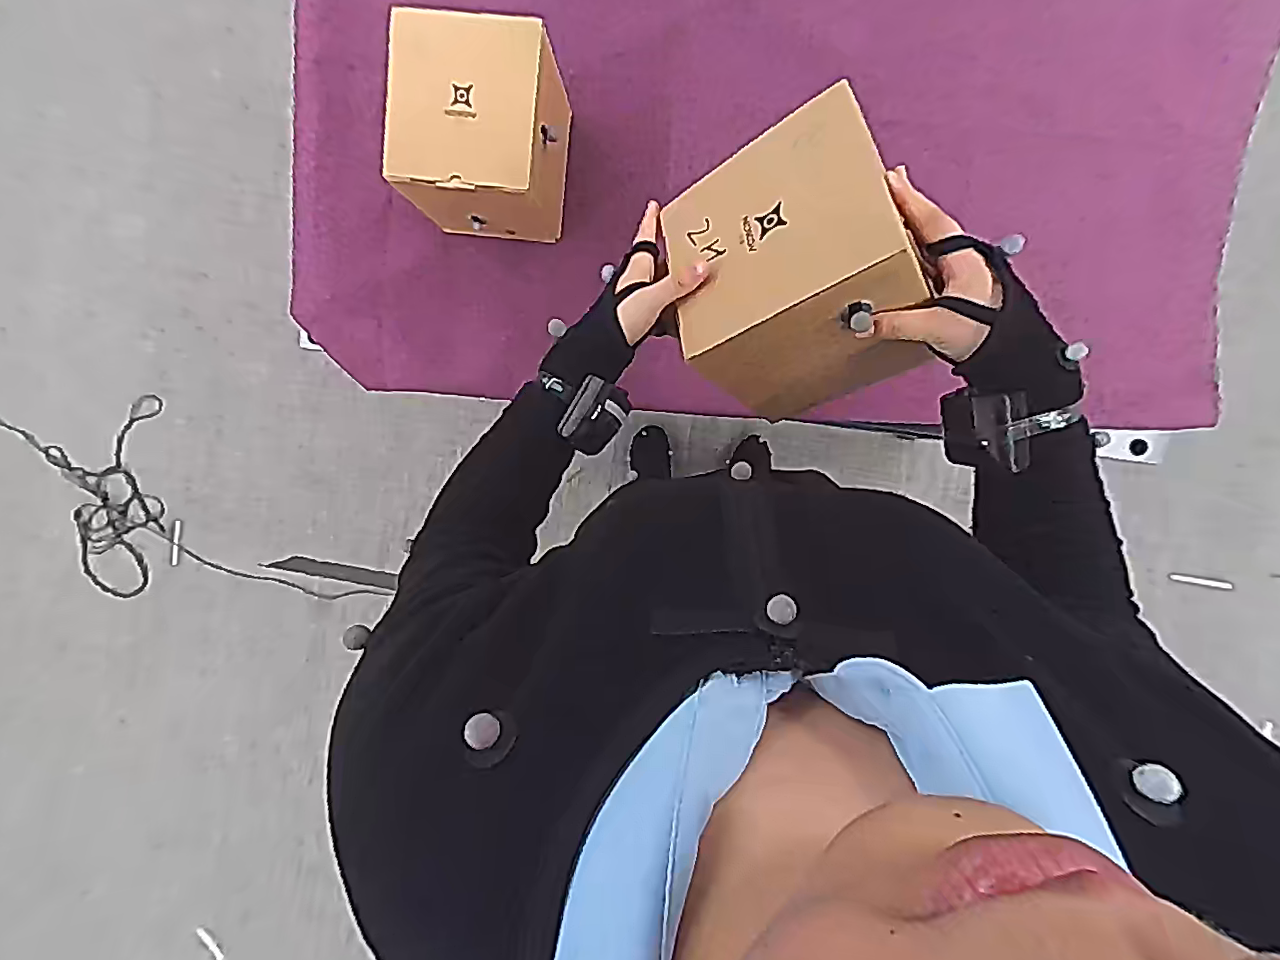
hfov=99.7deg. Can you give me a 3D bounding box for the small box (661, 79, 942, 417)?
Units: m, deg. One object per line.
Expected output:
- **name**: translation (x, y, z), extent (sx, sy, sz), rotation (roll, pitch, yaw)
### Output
- **small box**: translation (0.144, -0.177, 0.473), extent (0.179, 0.176, 0.168), rotation (-22, 64, 33)

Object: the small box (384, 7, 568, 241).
- **small box**: translation (-0.186, -0.415, 0.659), extent (0.168, 0.176, 0.179), rotation (6, 97, 2)
